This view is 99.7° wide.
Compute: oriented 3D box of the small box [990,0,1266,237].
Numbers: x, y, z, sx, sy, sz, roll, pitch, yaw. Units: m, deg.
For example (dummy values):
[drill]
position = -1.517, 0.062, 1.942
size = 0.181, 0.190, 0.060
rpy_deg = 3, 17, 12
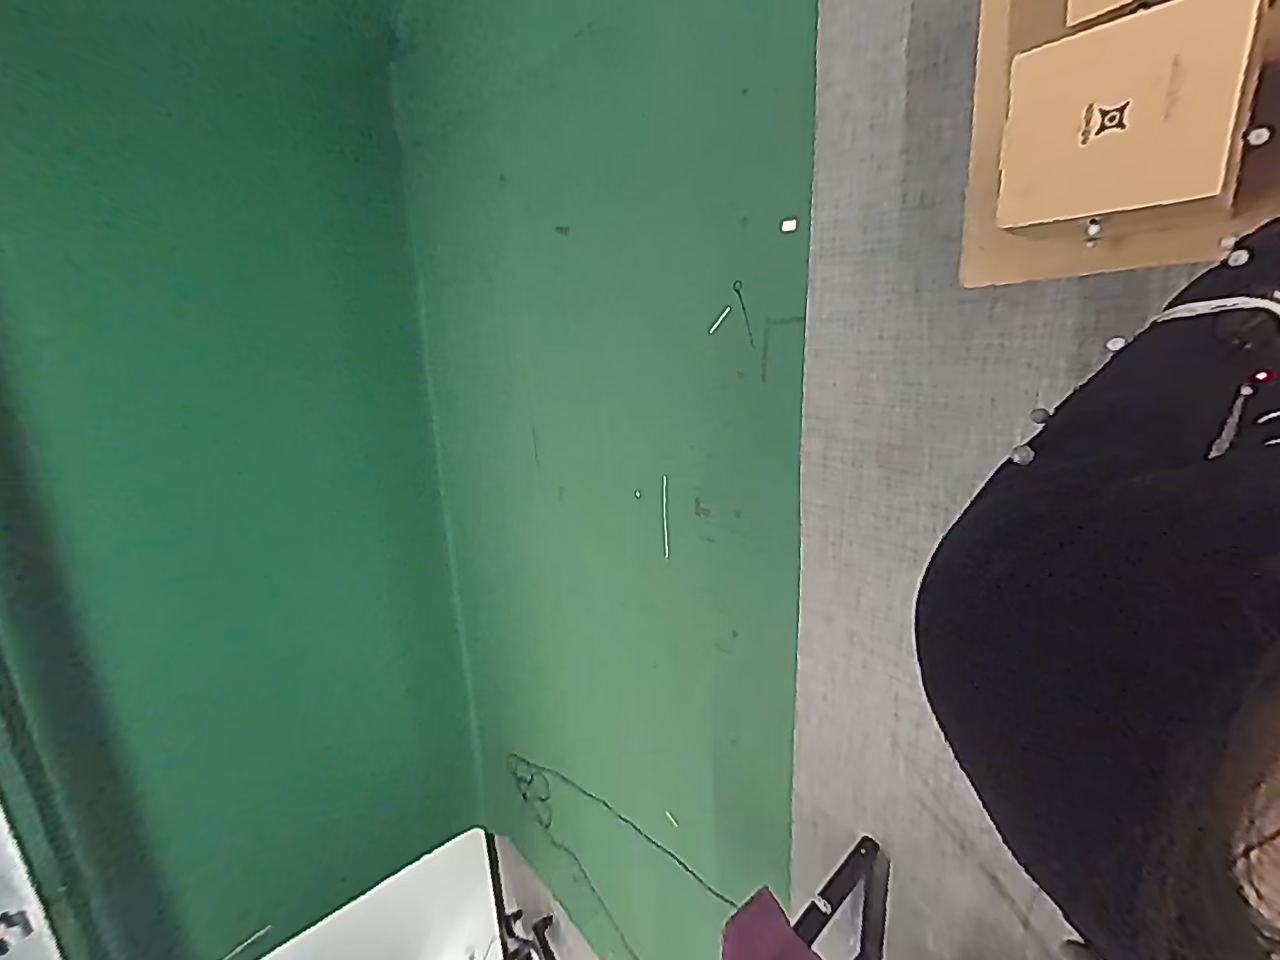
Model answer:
[small box]
position = 0.503, -0.359, 0.566
size = 0.179, 0.176, 0.168
rpy_deg = 15, 113, 47
